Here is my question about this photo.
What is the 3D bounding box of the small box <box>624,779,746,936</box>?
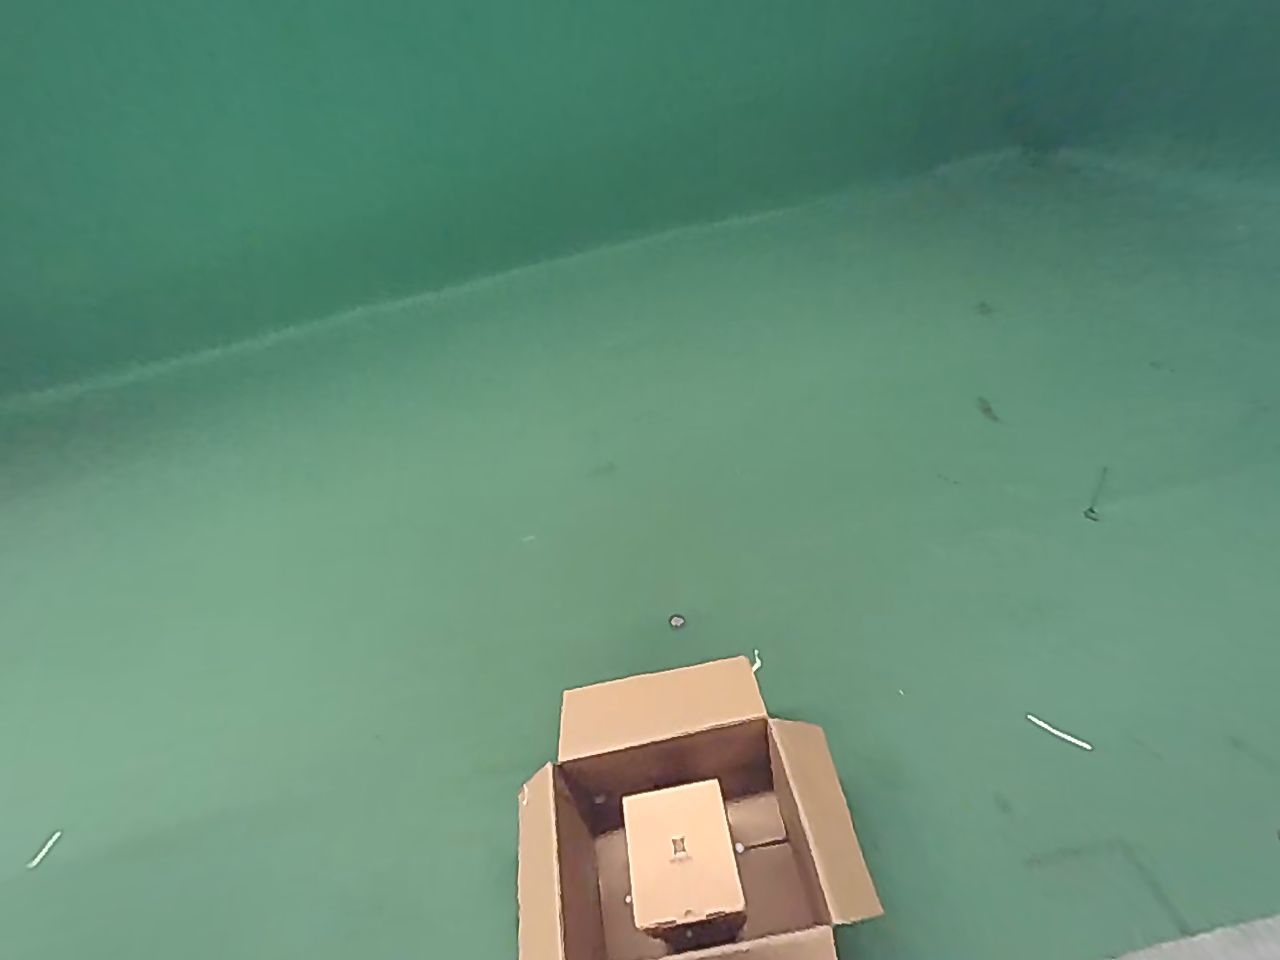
[{"bbox_3d":[0.072,0.625,0.895,0.168,0.176,0.179,-12,47,1],"label":"small box"}]
